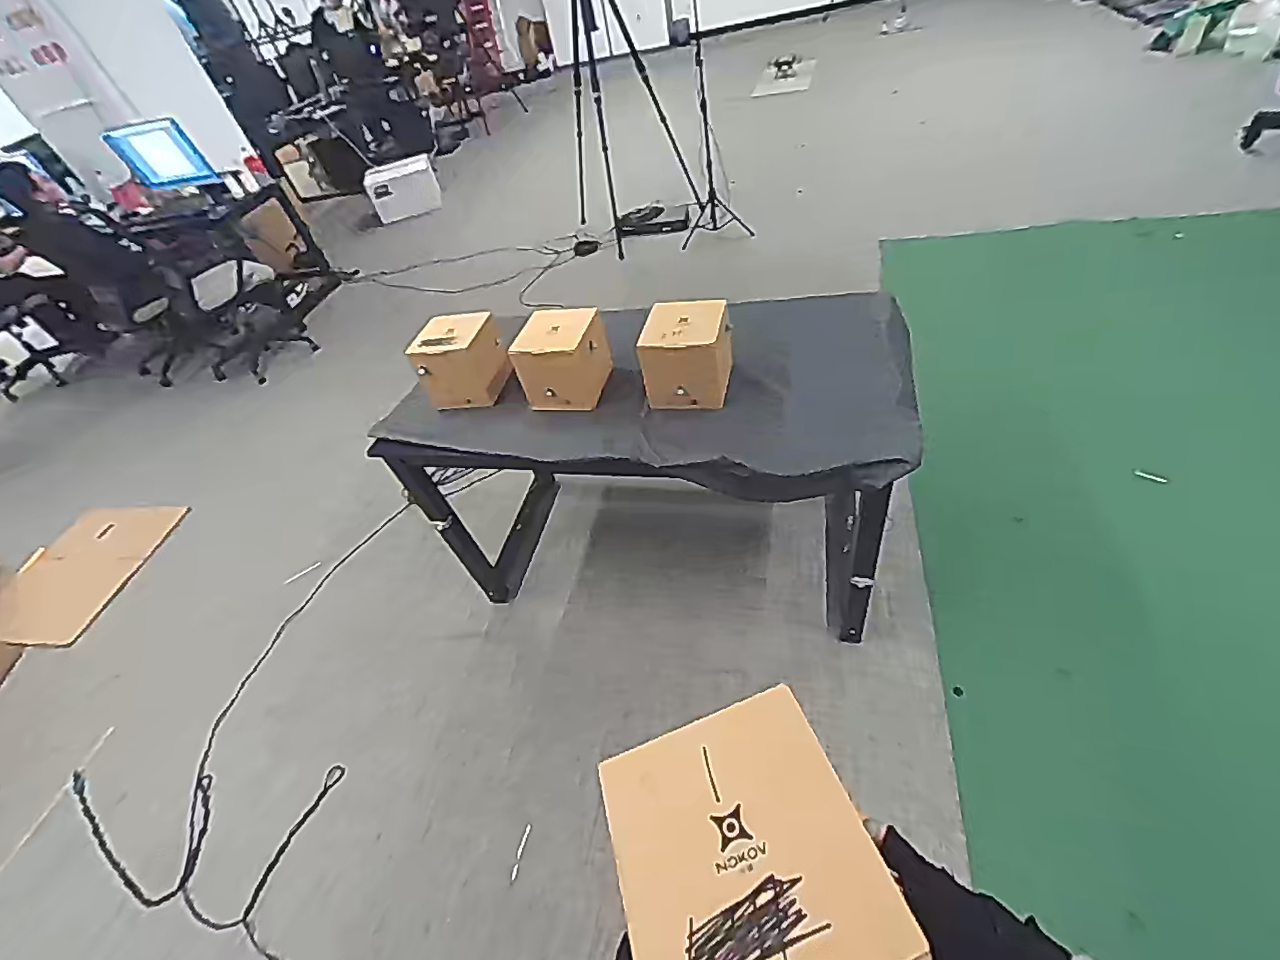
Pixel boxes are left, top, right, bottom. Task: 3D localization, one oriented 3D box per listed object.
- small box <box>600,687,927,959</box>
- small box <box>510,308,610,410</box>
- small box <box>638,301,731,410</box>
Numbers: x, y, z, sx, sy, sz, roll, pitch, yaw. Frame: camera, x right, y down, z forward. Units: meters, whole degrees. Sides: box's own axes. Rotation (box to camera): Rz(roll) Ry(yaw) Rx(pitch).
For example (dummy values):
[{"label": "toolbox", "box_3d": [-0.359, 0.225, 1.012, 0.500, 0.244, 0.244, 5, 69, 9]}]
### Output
[{"label": "small box", "box_3d": [0.088, 0.299, 0.408, 0.168, 0.176, 0.179, -23, 38, -1]}, {"label": "small box", "box_3d": [-0.179, -0.288, 1.285, 0.168, 0.176, 0.179, 3, 49, 16]}, {"label": "small box", "box_3d": [0.107, -0.277, 1.200, 0.168, 0.176, 0.179, 3, 48, 17]}]
